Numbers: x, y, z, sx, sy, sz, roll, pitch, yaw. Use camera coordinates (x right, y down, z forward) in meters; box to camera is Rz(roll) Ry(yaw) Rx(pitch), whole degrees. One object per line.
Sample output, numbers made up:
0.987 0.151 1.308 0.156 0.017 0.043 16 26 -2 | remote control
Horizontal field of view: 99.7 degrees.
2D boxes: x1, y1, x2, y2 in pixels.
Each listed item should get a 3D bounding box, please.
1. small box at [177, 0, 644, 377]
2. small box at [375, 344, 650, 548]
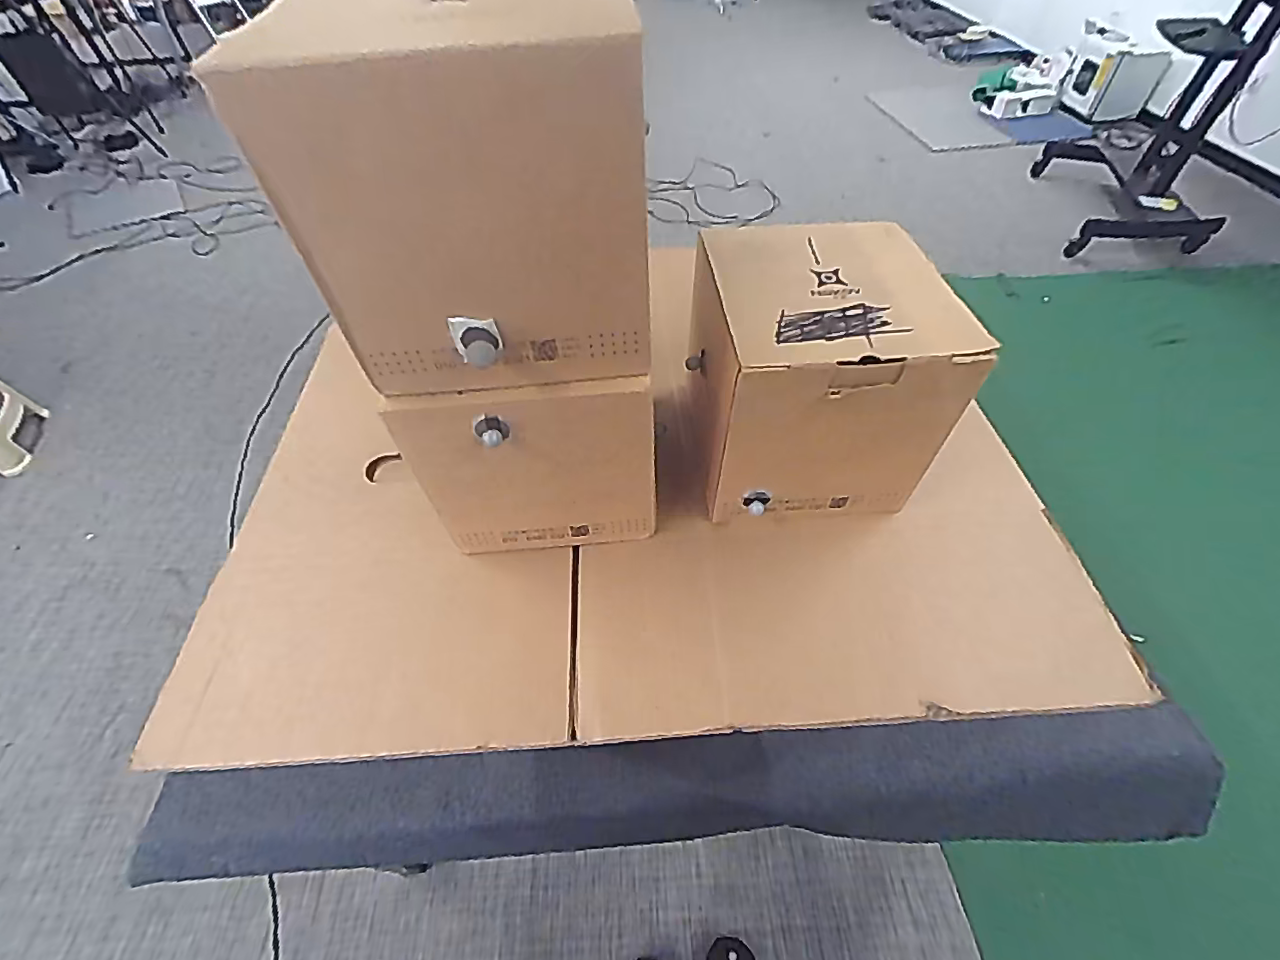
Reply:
-0.089 -0.183 0.306 0.168 0.176 0.179 -7 53 -2 | small box
-0.081 -0.066 0.440 0.168 0.176 0.179 -5 51 0 | small box
